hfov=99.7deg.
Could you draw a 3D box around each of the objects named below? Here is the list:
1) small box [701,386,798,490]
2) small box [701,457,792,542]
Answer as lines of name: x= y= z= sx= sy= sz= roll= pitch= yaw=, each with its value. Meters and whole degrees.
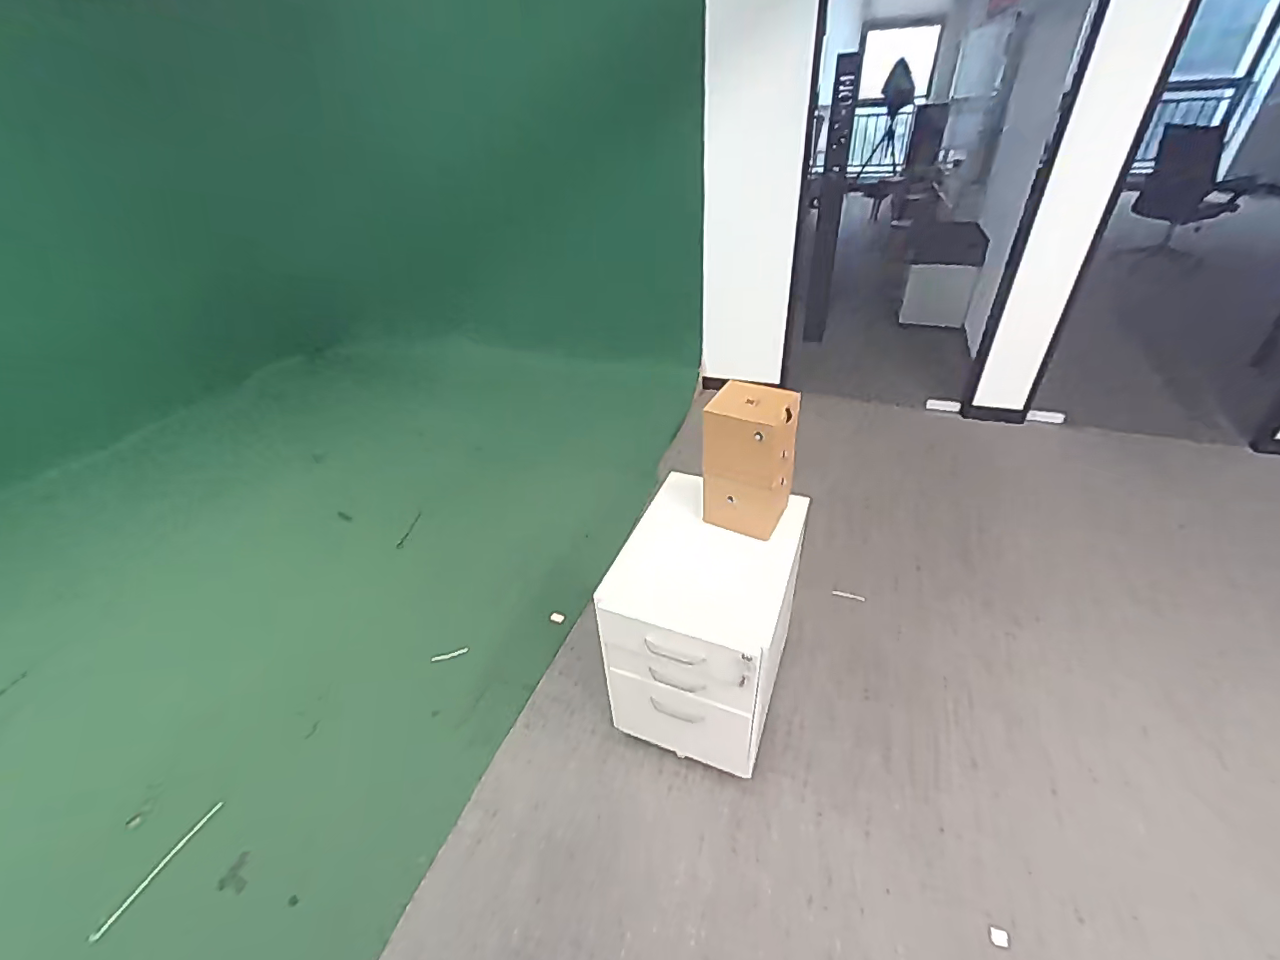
small box: x=0.251 y=-0.099 z=1.263 sx=0.179 sy=0.176 sz=0.168 roll=17 pitch=41 yaw=25
small box: x=0.265 y=0.032 z=1.359 sx=0.179 sy=0.176 sz=0.168 roll=16 pitch=41 yaw=26
